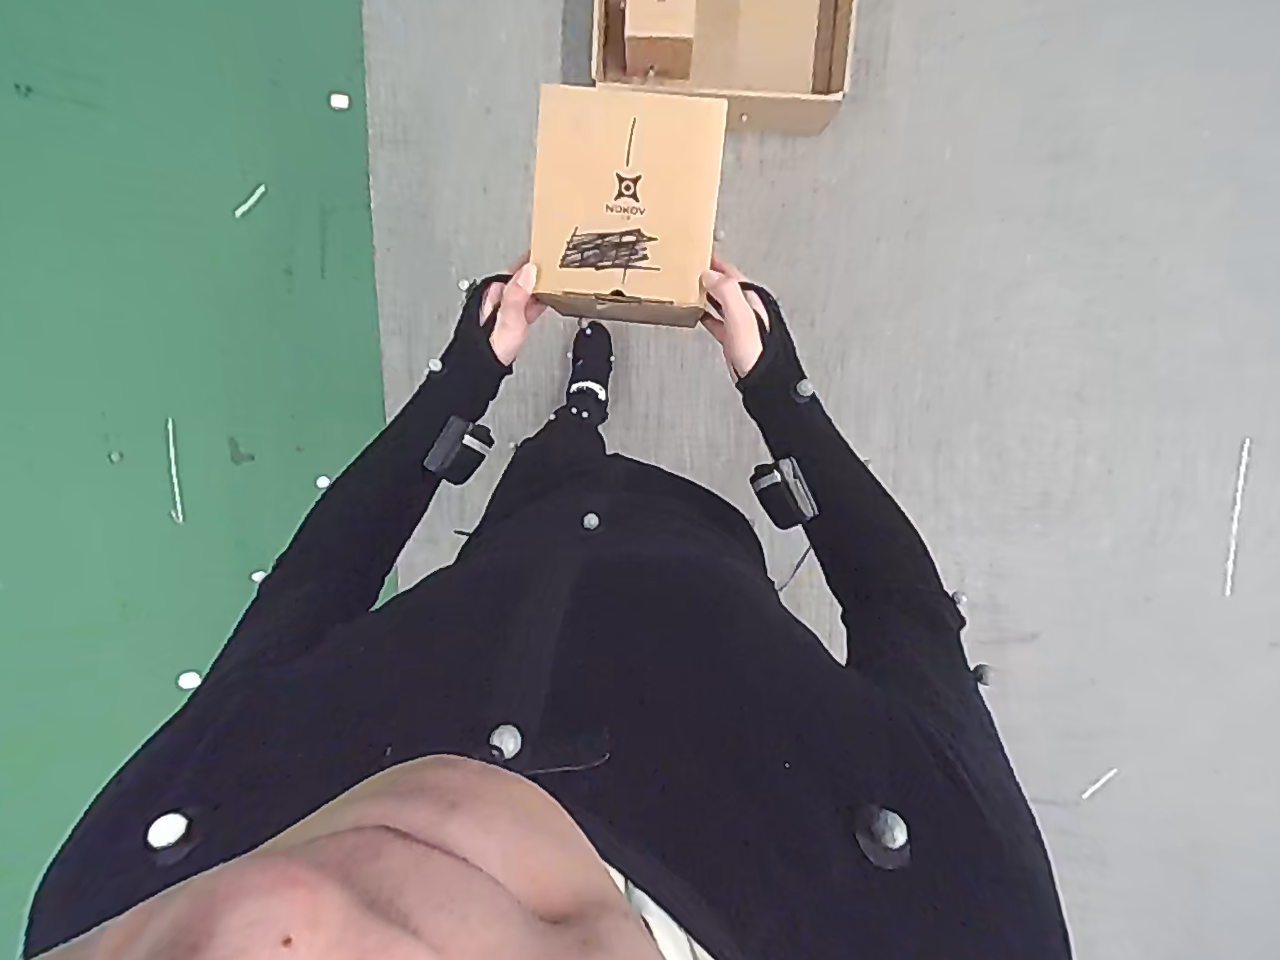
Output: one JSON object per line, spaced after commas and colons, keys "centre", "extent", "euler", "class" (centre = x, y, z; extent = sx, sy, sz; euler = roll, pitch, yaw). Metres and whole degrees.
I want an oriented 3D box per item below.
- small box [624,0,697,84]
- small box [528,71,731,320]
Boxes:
{"centre": [0.050, -1.113, 1.318], "extent": [0.168, 0.176, 0.179], "euler": [3, 97, 1], "class": "small box"}
{"centre": [-0.009, -0.267, 0.551], "extent": [0.168, 0.176, 0.179], "euler": [6, 98, 1], "class": "small box"}
